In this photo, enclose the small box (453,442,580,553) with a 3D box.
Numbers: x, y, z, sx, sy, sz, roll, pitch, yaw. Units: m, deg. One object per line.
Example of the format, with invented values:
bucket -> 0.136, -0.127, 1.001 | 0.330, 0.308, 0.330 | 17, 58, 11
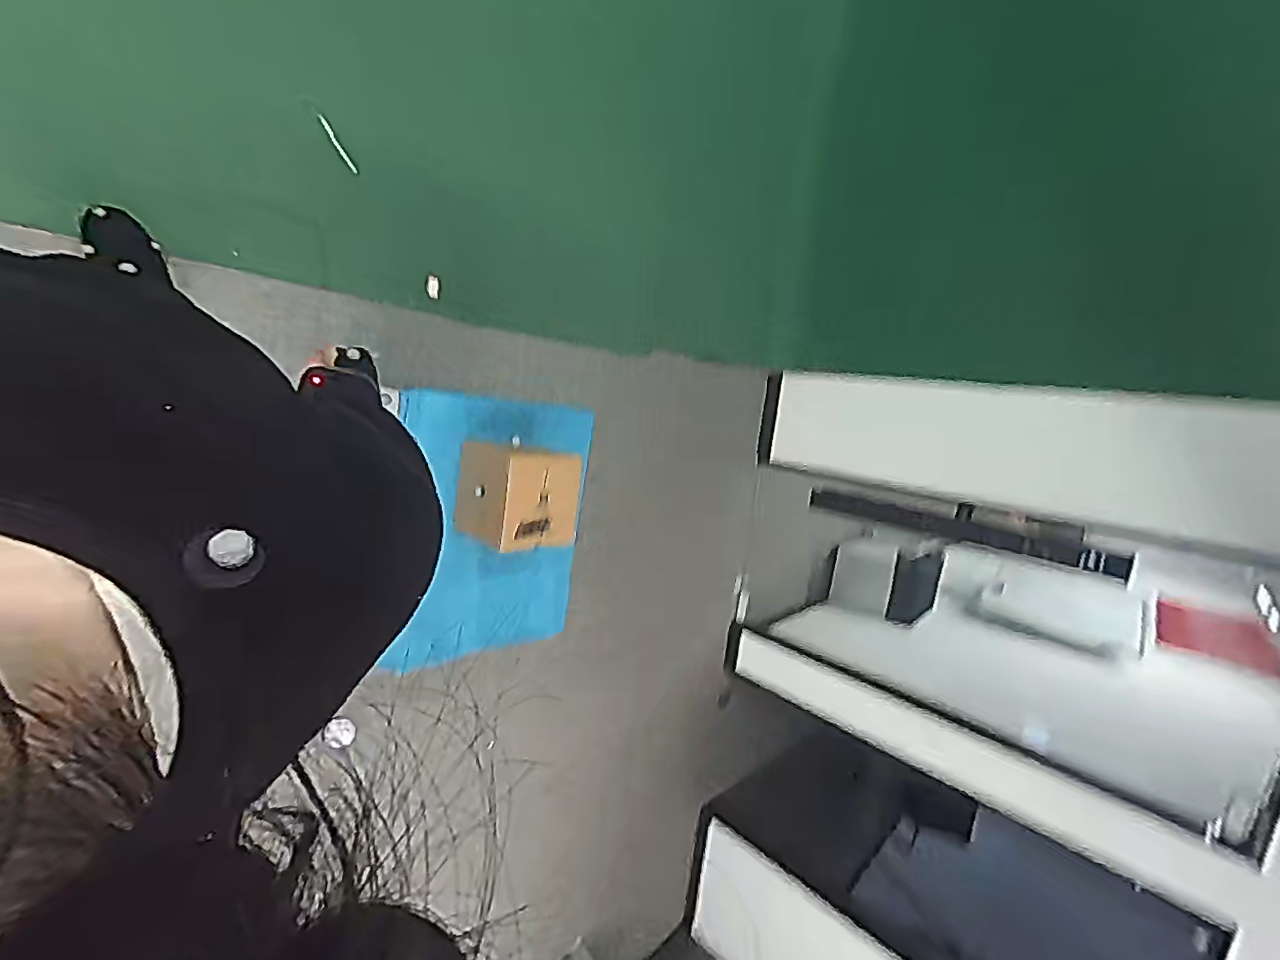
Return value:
small box -> -0.240, 0.029, 1.037 | 0.168, 0.176, 0.179 | 0, 100, -48
